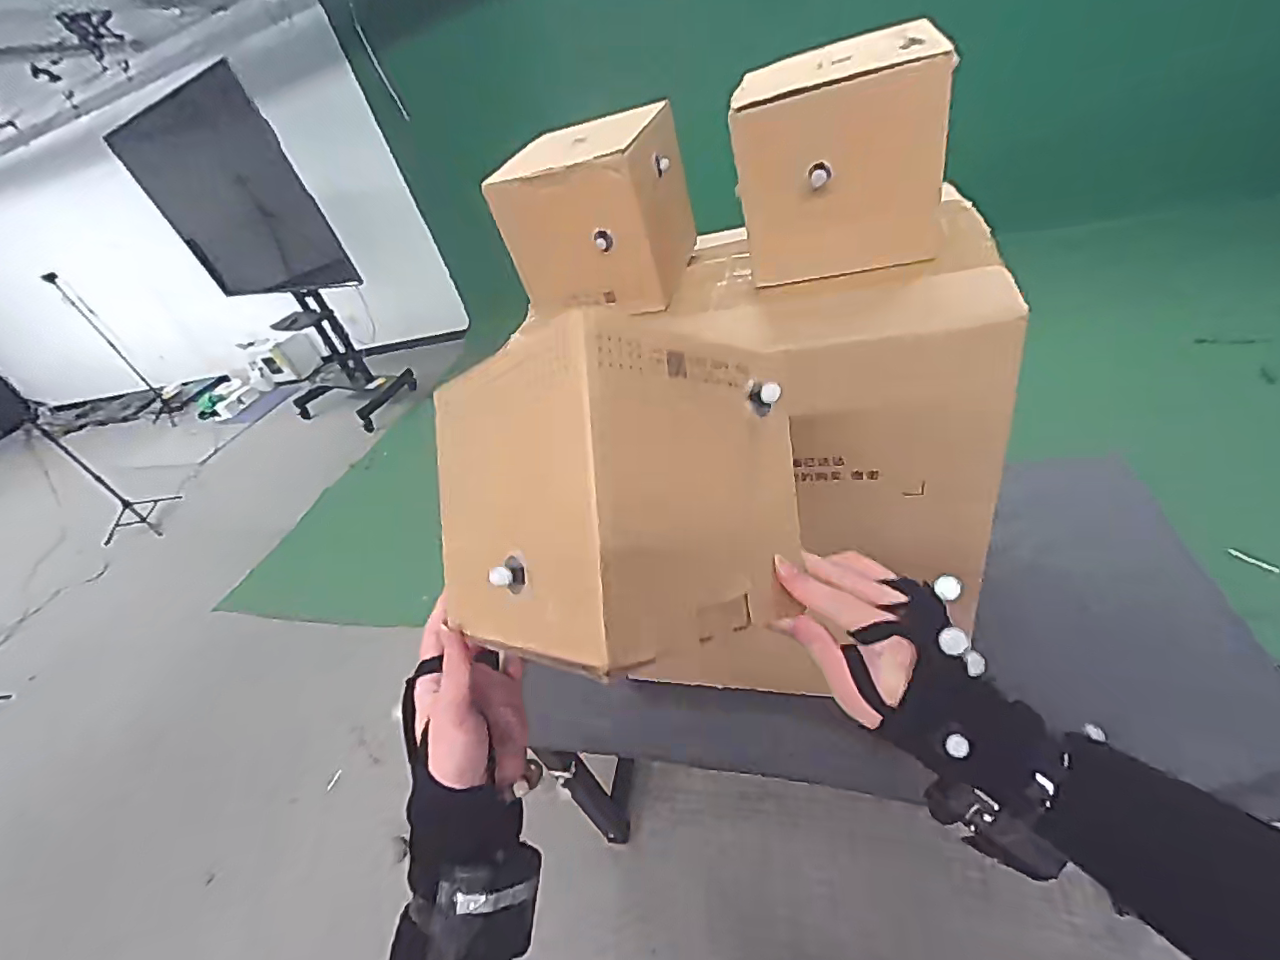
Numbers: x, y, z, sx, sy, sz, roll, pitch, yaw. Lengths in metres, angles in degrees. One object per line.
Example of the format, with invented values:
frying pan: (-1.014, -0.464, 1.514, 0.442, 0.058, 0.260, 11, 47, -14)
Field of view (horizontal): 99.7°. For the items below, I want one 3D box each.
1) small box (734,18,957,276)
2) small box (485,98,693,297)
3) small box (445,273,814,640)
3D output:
small box: (0.202, -0.325, 0.546, 0.179, 0.176, 0.168, -4, 43, 20)
small box: (-0.042, -0.311, 0.630, 0.168, 0.176, 0.179, 1, 44, 21)
small box: (-0.015, -0.007, 0.343, 0.168, 0.176, 0.179, 2, -7, -43)
